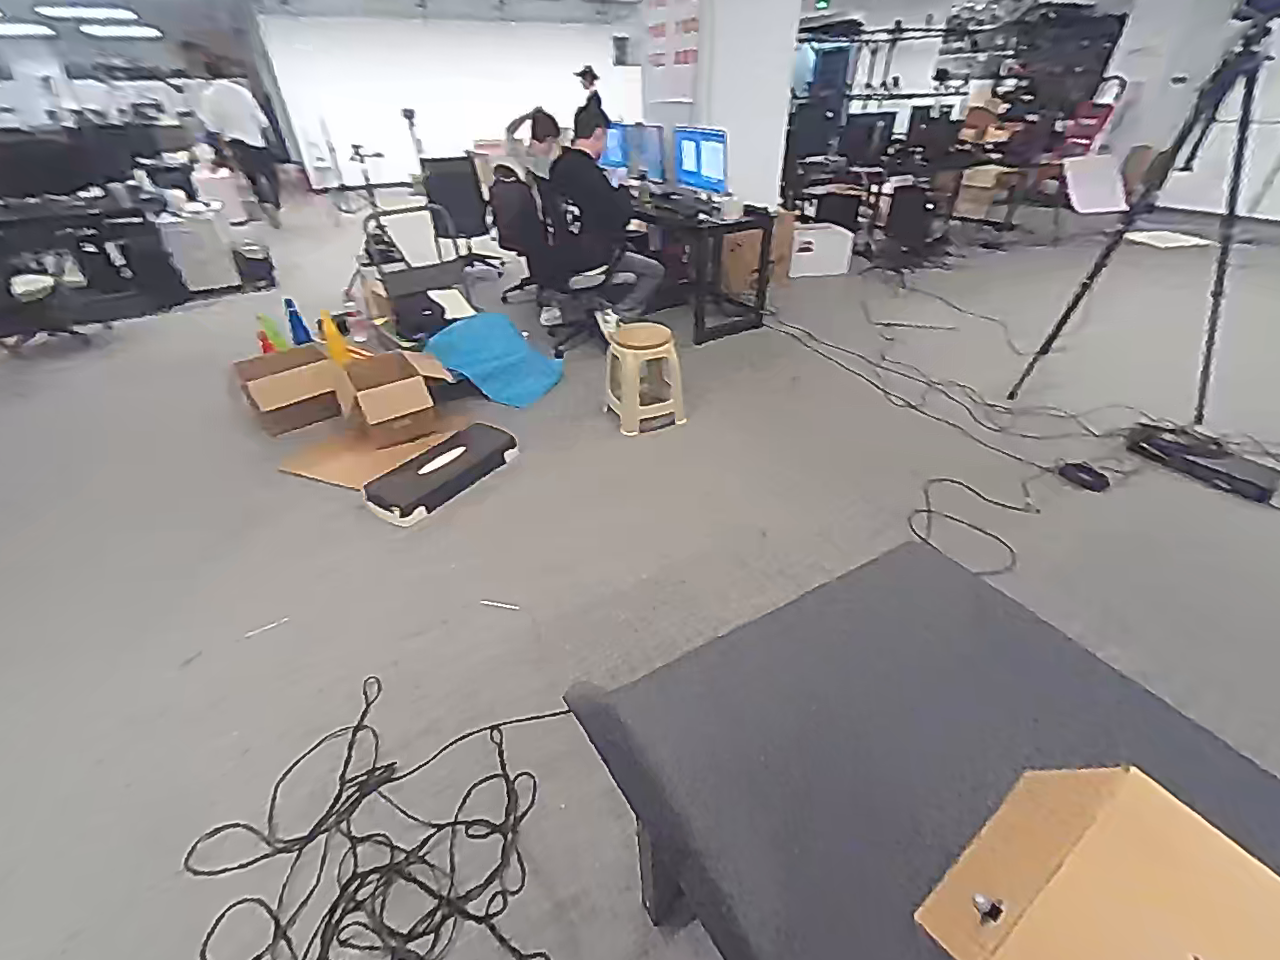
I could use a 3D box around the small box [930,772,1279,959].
[{"bbox_3d":[0.340,0.335,0.379,0.179,0.176,0.168,-43,61,-11],"label":"small box"}]
